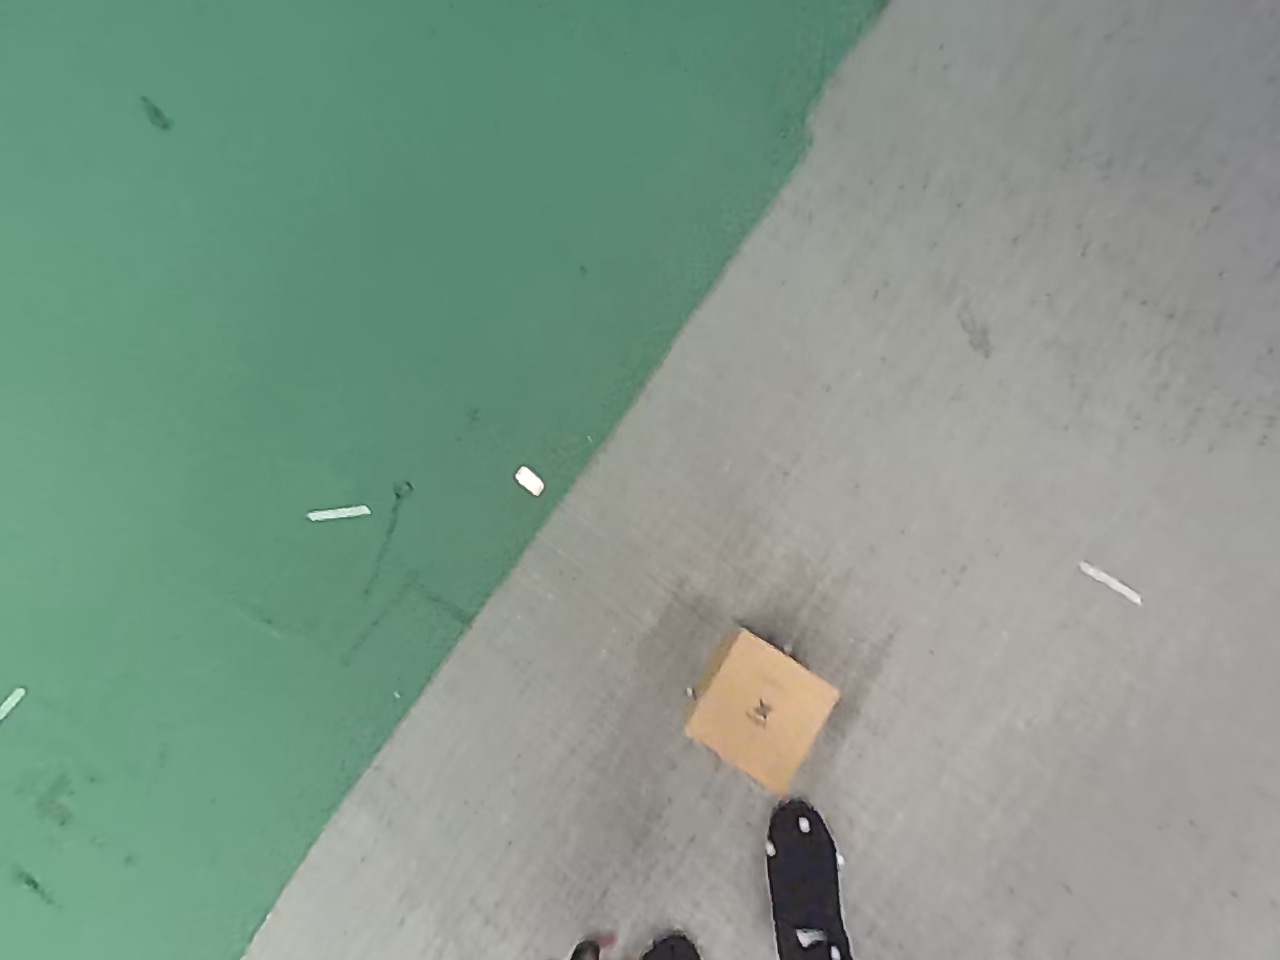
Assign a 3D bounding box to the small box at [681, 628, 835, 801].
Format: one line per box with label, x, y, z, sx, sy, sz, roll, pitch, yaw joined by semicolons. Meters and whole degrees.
small box;0.180;0.360;0.870;0.168;0.176;0.179;32;83;8
